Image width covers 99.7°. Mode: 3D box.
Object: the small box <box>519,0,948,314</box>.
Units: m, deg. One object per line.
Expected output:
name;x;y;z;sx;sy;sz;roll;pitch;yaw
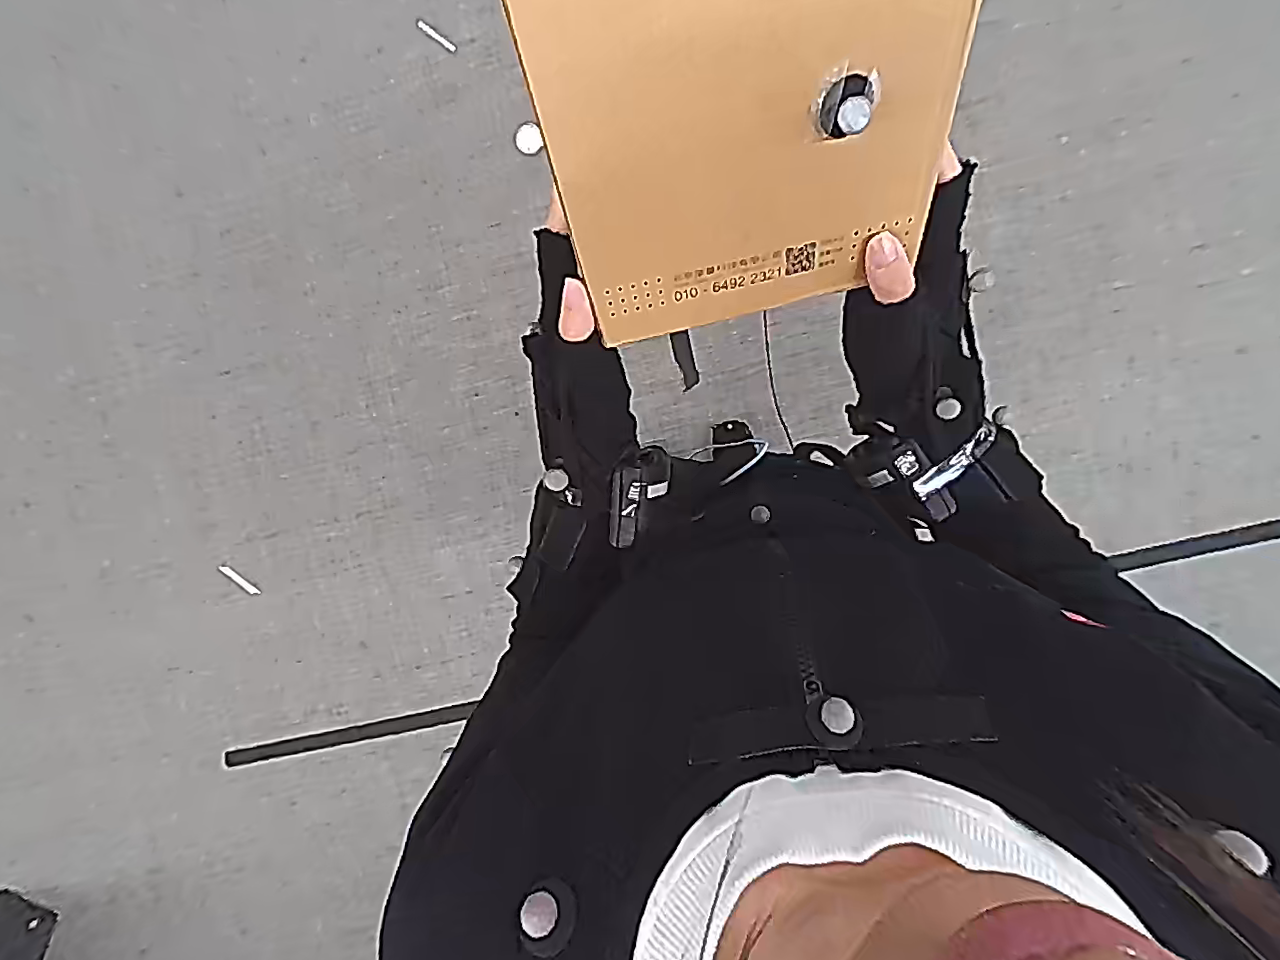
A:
small box;0.041;-0.208;0.287;0.168;0.176;0.179;-11;52;3
